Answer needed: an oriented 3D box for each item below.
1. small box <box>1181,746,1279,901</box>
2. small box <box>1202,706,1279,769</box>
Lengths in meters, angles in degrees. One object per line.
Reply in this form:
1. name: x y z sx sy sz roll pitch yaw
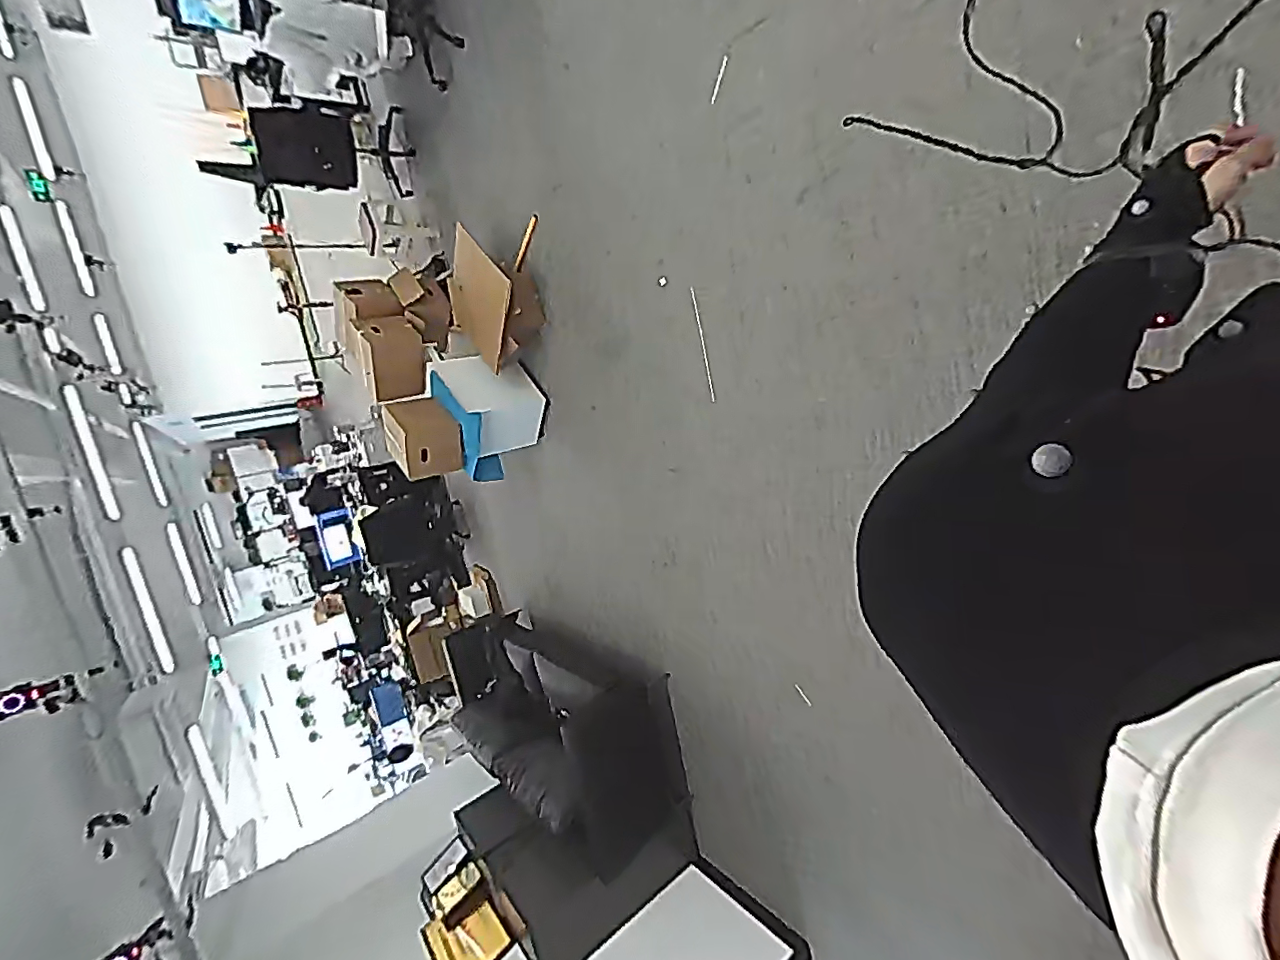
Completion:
1. small box: 1.182 0.658 1.049 0.168 0.176 0.179 6 109 52
2. small box: 1.312 0.615 1.142 0.168 0.176 0.179 5 109 52
